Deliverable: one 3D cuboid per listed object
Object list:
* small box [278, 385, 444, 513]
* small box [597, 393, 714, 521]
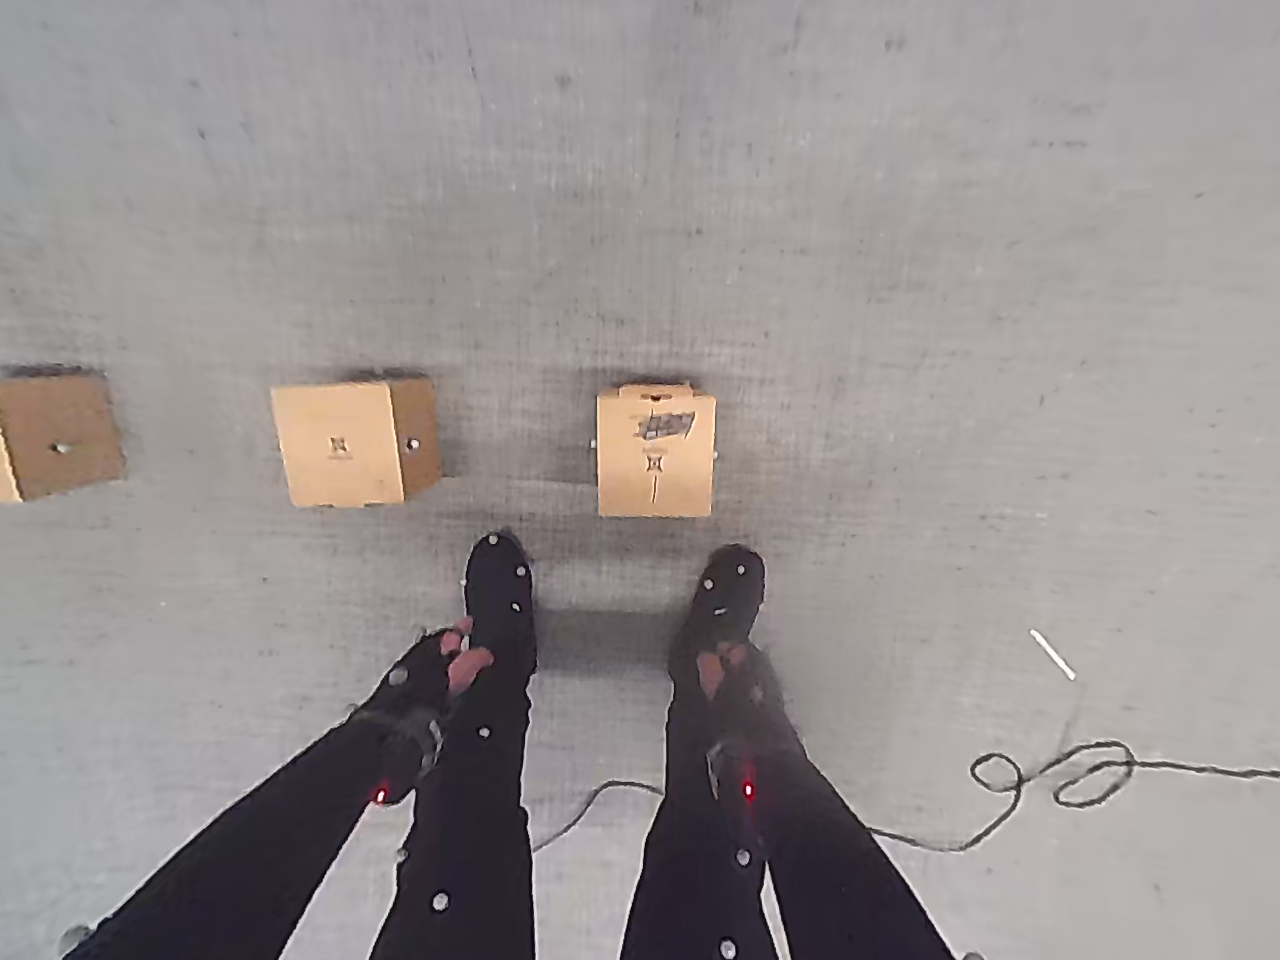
[{"bbox_3d":[-0.423,-0.056,0.853,0.168,0.176,0.179,-3,101,1],"label":"small box"},{"bbox_3d":[0.023,-0.044,0.841,0.168,0.176,0.179,0,103,2],"label":"small box"}]
